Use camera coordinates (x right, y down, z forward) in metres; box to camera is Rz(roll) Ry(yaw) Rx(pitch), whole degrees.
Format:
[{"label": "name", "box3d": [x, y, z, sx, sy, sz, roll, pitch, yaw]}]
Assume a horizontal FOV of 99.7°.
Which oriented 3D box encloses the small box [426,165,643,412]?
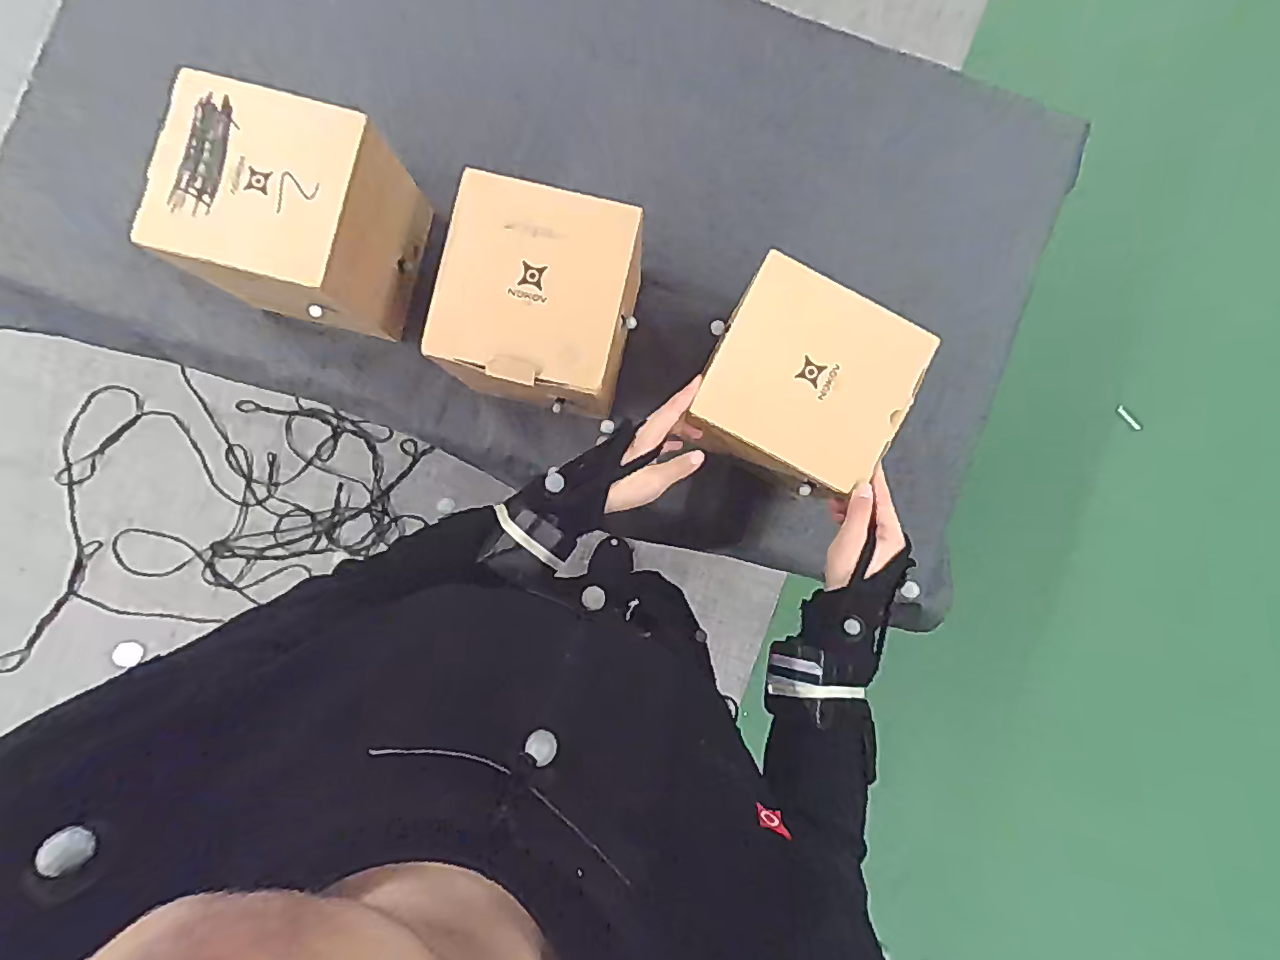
[{"label": "small box", "box3d": [-0.095, -0.178, 0.561, 0.168, 0.176, 0.179, 12, 87, -1]}]
